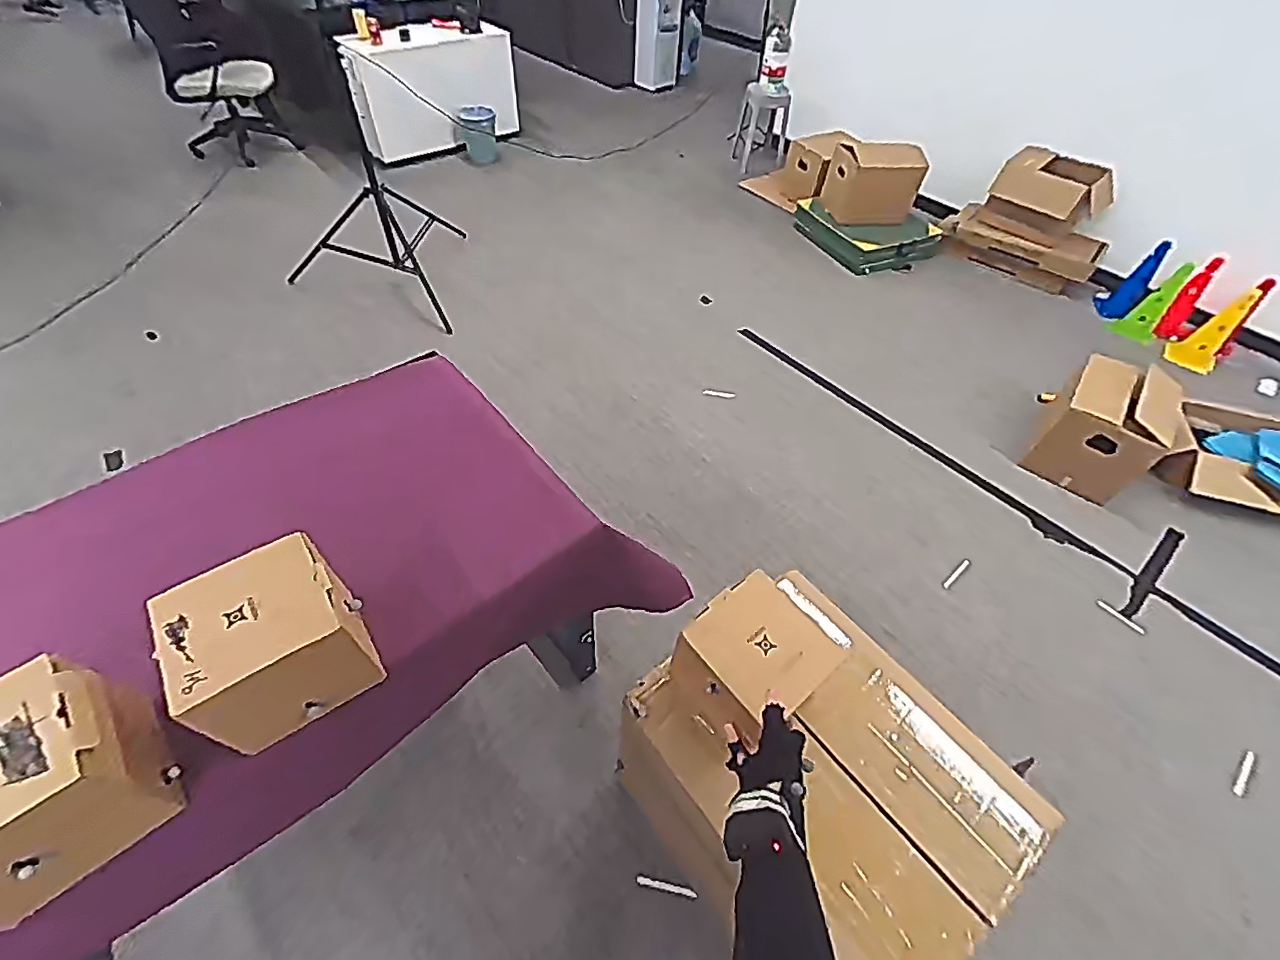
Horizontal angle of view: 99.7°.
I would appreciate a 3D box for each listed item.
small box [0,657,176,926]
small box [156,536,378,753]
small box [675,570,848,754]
[{"bbox_3d":[-0.648,0.332,0.579,0.179,0.176,0.168,-34,59,-26],"label":"small box"},{"bbox_3d":[-0.461,0.211,0.695,0.179,0.176,0.168,-28,56,-25],"label":"small box"},{"bbox_3d":[0.169,0.277,0.814,0.168,0.176,0.179,-33,61,-24],"label":"small box"}]
